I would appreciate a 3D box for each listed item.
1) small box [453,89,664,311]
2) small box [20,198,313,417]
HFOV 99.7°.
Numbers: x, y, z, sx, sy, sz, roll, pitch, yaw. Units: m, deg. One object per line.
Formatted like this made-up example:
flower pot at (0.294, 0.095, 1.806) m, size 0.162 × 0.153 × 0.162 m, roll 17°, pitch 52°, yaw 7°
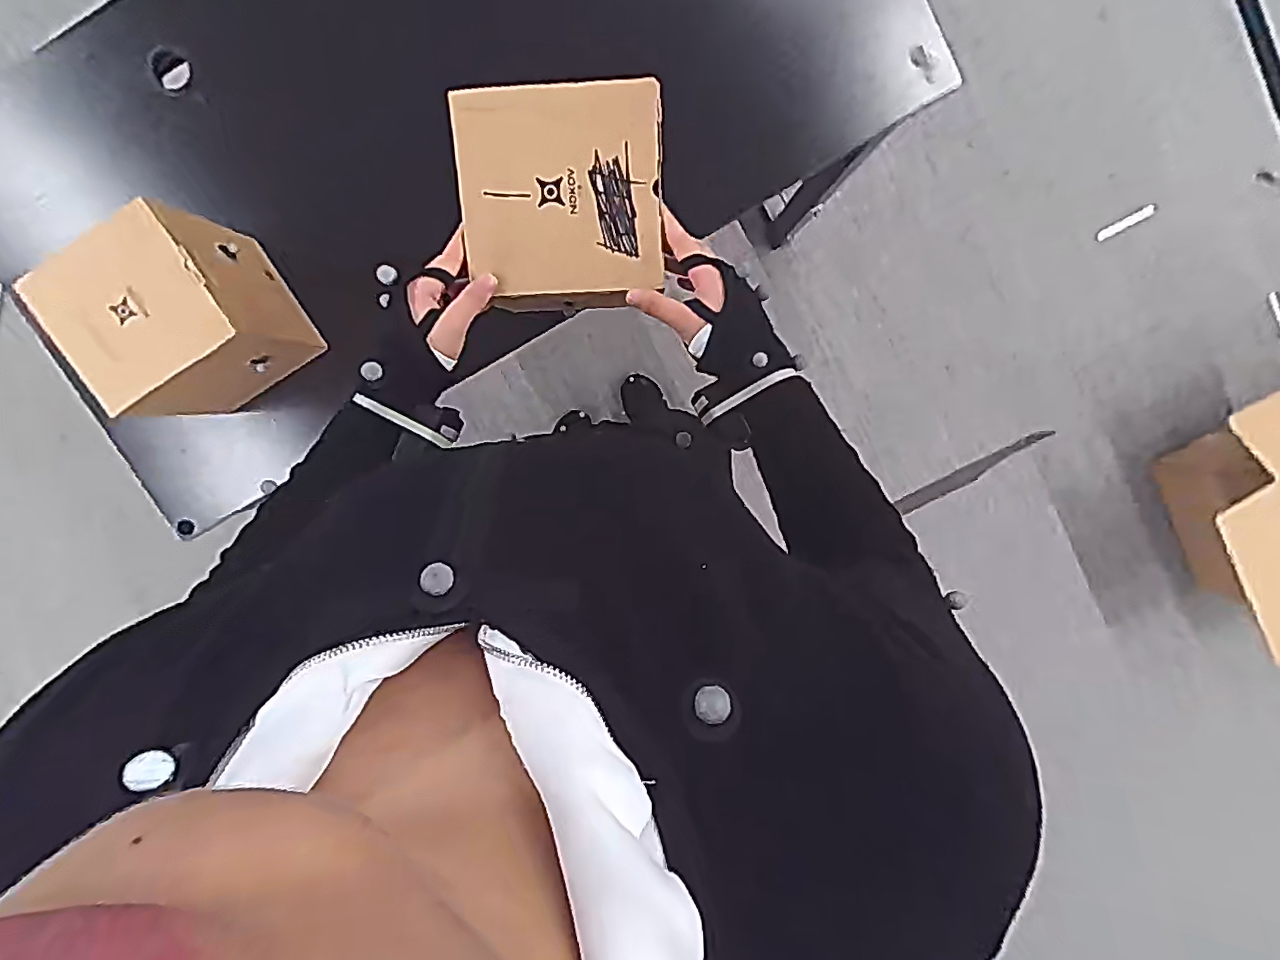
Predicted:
small box at (-0.067, -0.262, 0.543) m, size 0.179 × 0.176 × 0.168 m, roll -1°, pitch 103°, yaw 1°
small box at (-0.535, -0.191, 0.648) m, size 0.179 × 0.176 × 0.168 m, roll -32°, pitch 96°, yaw 5°
